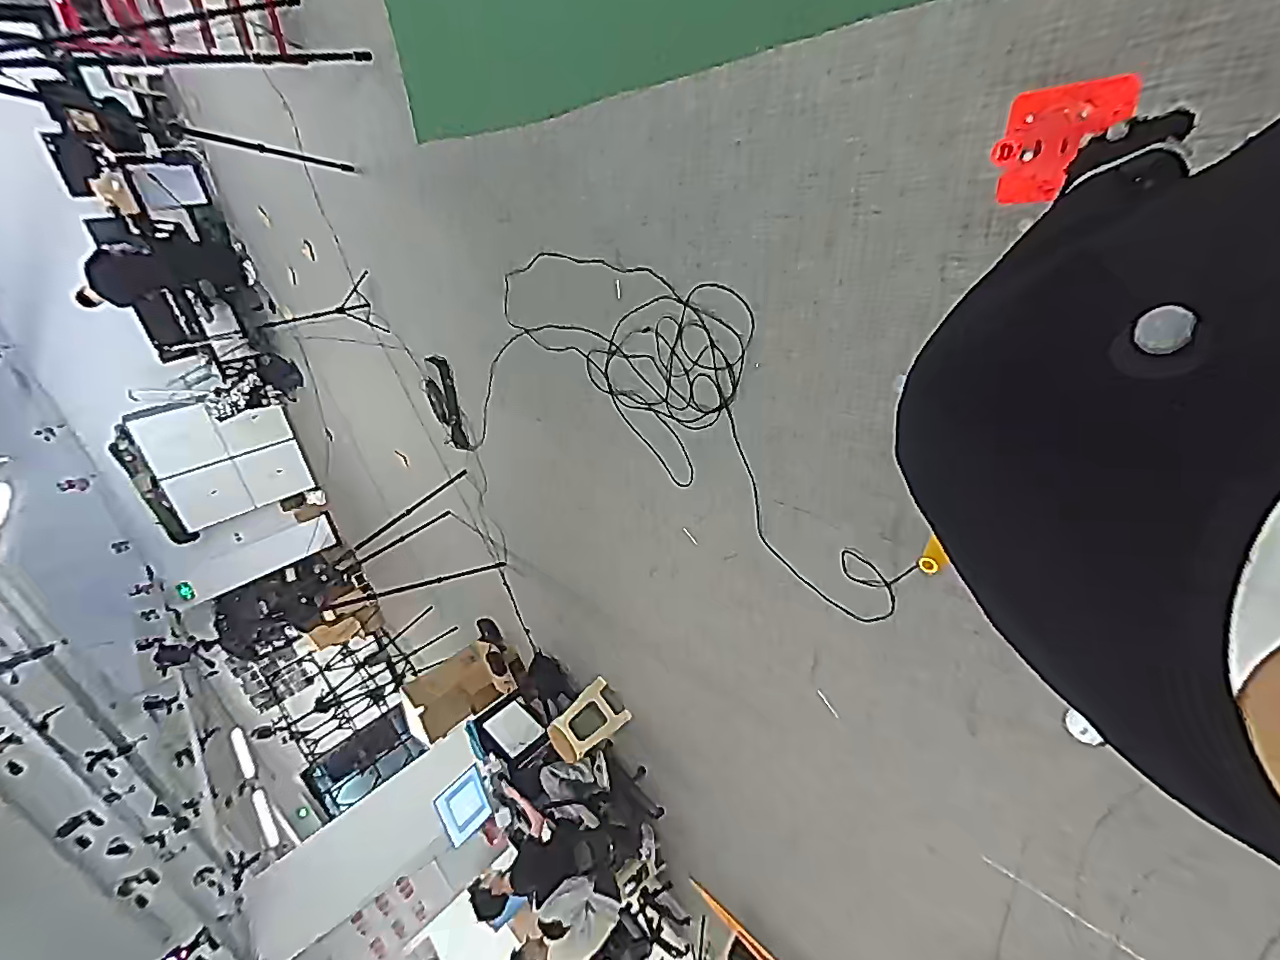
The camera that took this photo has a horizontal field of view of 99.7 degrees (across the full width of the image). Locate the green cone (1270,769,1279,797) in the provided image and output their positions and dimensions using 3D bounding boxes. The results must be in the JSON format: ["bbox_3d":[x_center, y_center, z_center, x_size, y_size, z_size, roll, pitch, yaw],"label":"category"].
[{"bbox_3d":[1.372,0.719,1.032,0.202,0.368,0.200,21,127,44],"label":"green cone"}]

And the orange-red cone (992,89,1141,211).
[{"bbox_3d":[0.718,-0.579,0.974,0.198,0.360,0.199,23,130,42],"label":"orange-red cone"}]
